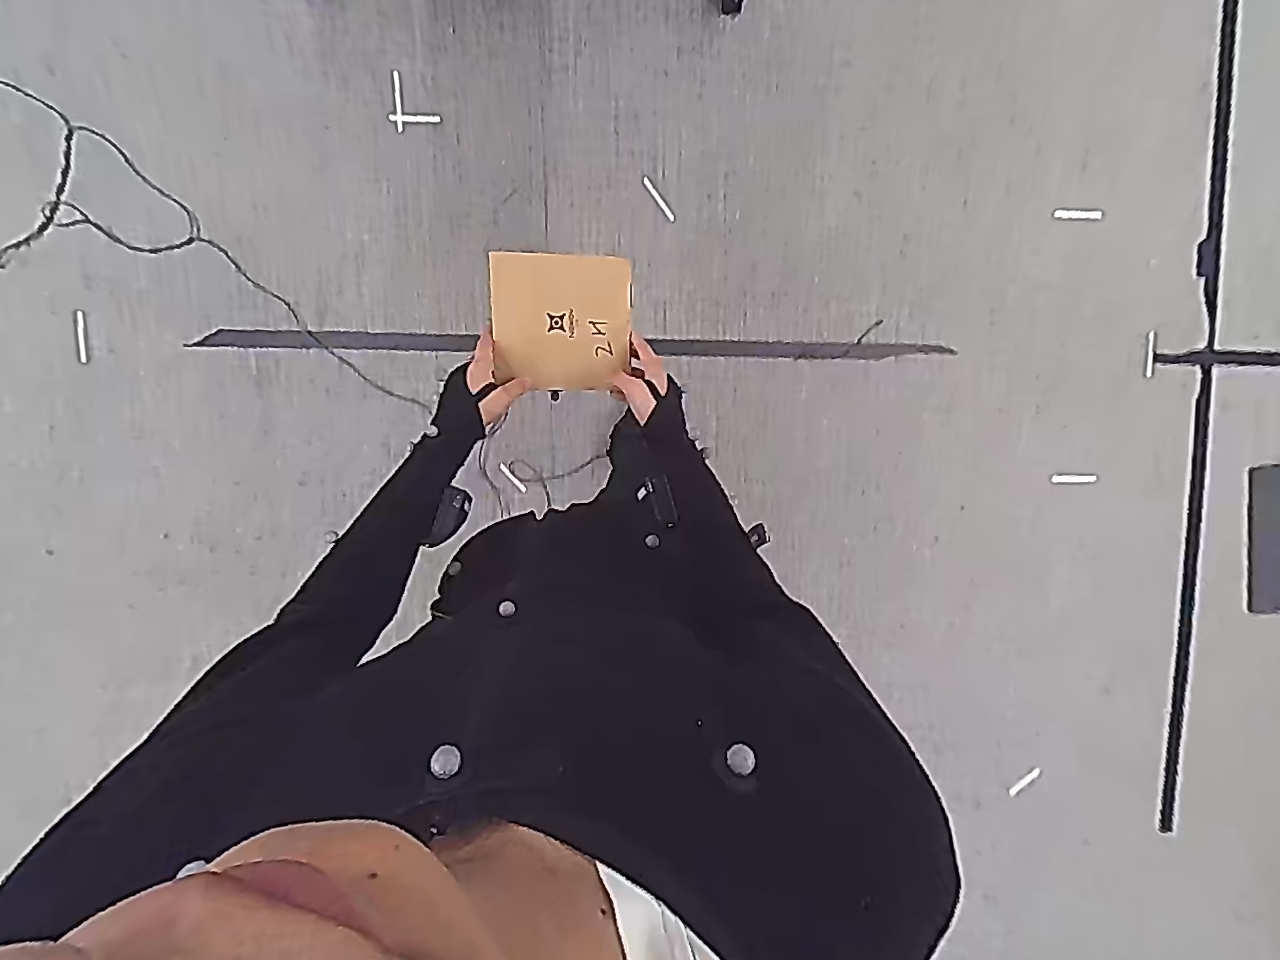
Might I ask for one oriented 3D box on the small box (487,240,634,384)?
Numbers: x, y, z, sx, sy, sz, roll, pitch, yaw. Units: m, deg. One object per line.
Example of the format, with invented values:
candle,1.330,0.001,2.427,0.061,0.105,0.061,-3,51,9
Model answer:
small box,-0.108,-0.216,0.736,0.179,0.176,0.168,-2,102,-11
